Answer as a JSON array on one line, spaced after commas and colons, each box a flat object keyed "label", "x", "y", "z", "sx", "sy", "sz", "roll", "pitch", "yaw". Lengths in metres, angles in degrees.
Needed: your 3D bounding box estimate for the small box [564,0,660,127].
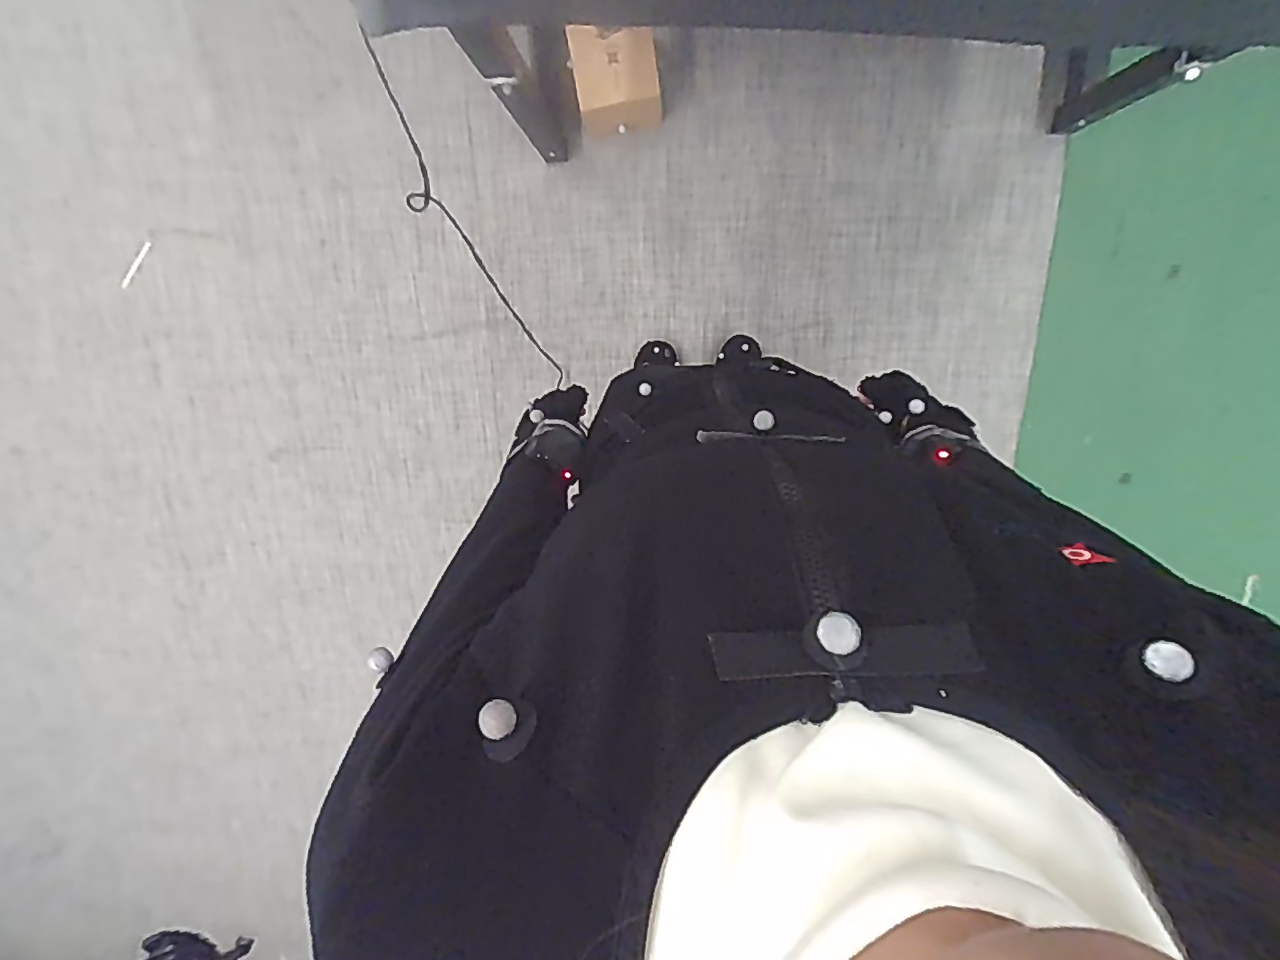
[{"label": "small box", "x": -0.052, "y": -0.871, "z": 1.122, "sx": 0.168, "sy": 0.176, "sz": 0.179, "roll": -9, "pitch": 106, "yaw": 5}]
